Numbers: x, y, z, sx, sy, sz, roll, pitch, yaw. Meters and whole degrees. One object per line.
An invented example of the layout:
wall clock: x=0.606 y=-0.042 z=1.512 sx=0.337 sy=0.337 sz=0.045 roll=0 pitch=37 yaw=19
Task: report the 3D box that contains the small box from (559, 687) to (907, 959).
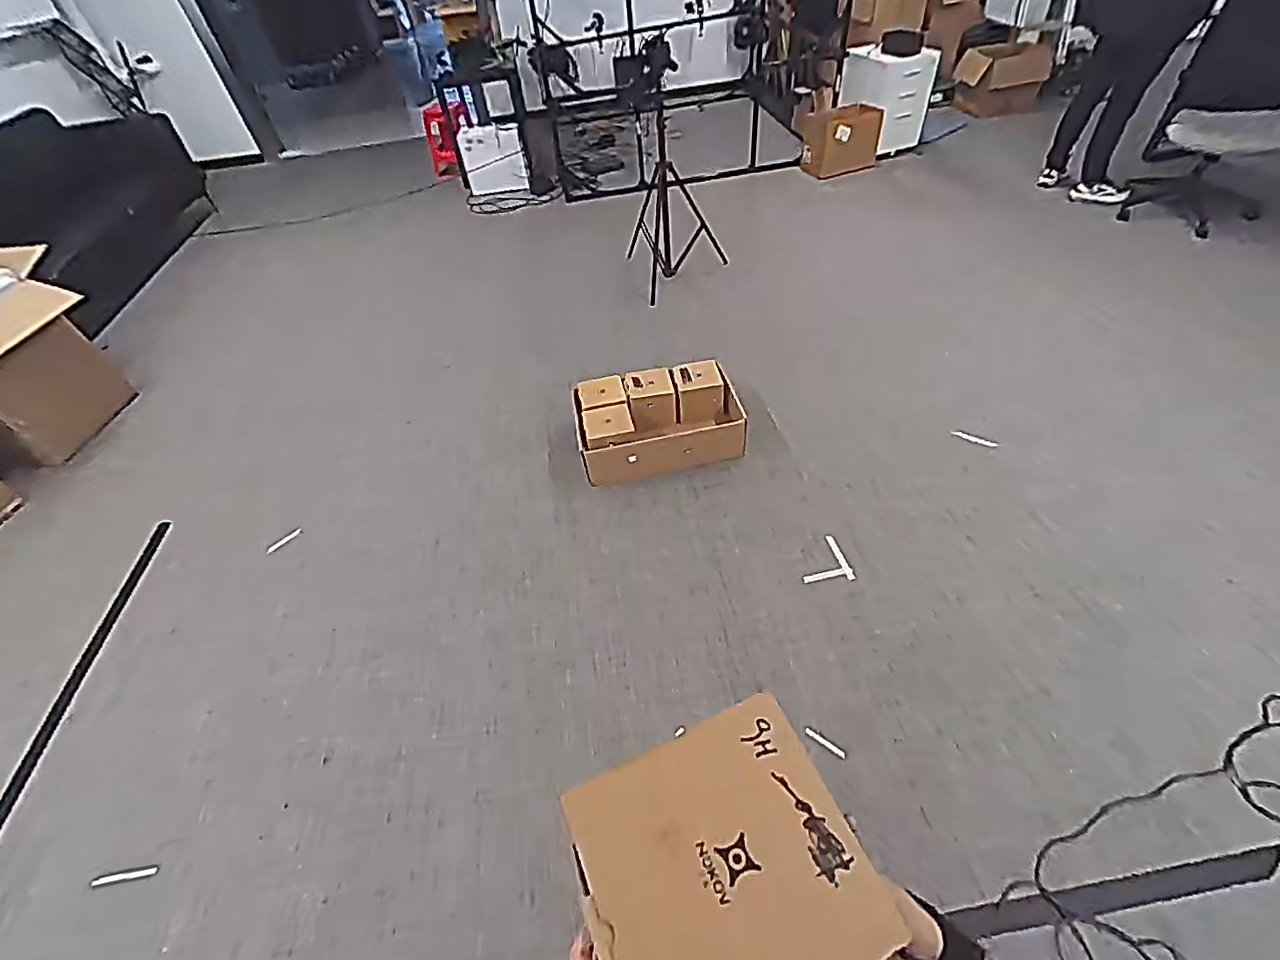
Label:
small box: x=0.055 y=0.293 z=0.416 sx=0.179 sy=0.176 sz=0.168 roll=-20 pitch=57 yaw=-14
